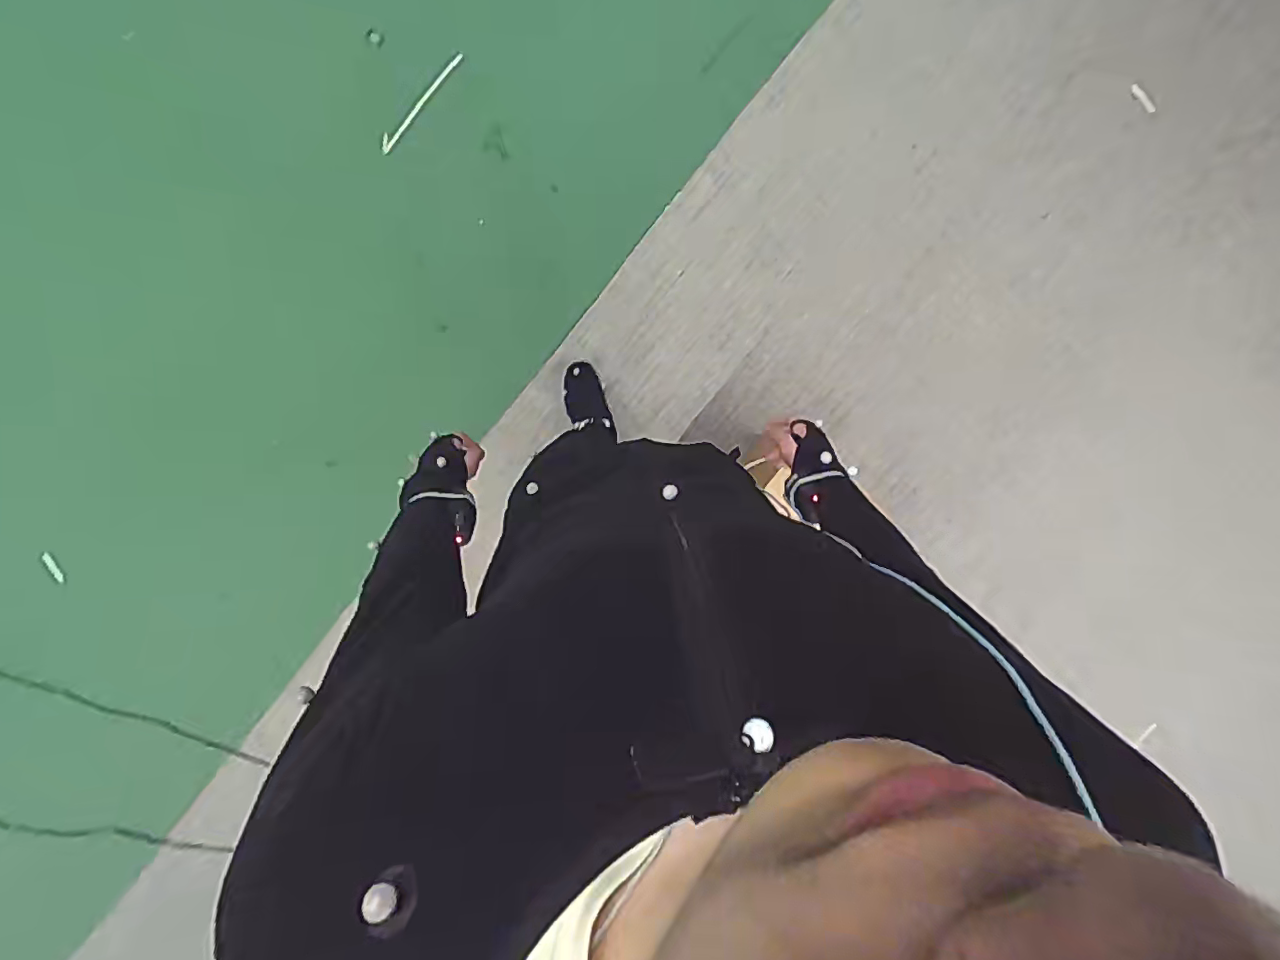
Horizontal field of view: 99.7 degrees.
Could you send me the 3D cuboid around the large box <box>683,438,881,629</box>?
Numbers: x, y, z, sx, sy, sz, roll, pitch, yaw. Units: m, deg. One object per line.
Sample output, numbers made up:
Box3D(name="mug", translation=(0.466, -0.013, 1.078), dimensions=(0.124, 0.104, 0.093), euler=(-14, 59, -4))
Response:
Box3D(name="large box", translation=(0.379, 0.132, 1.541), dimensions=(0.320, 0.320, 0.408), euler=(38, 92, -10))
